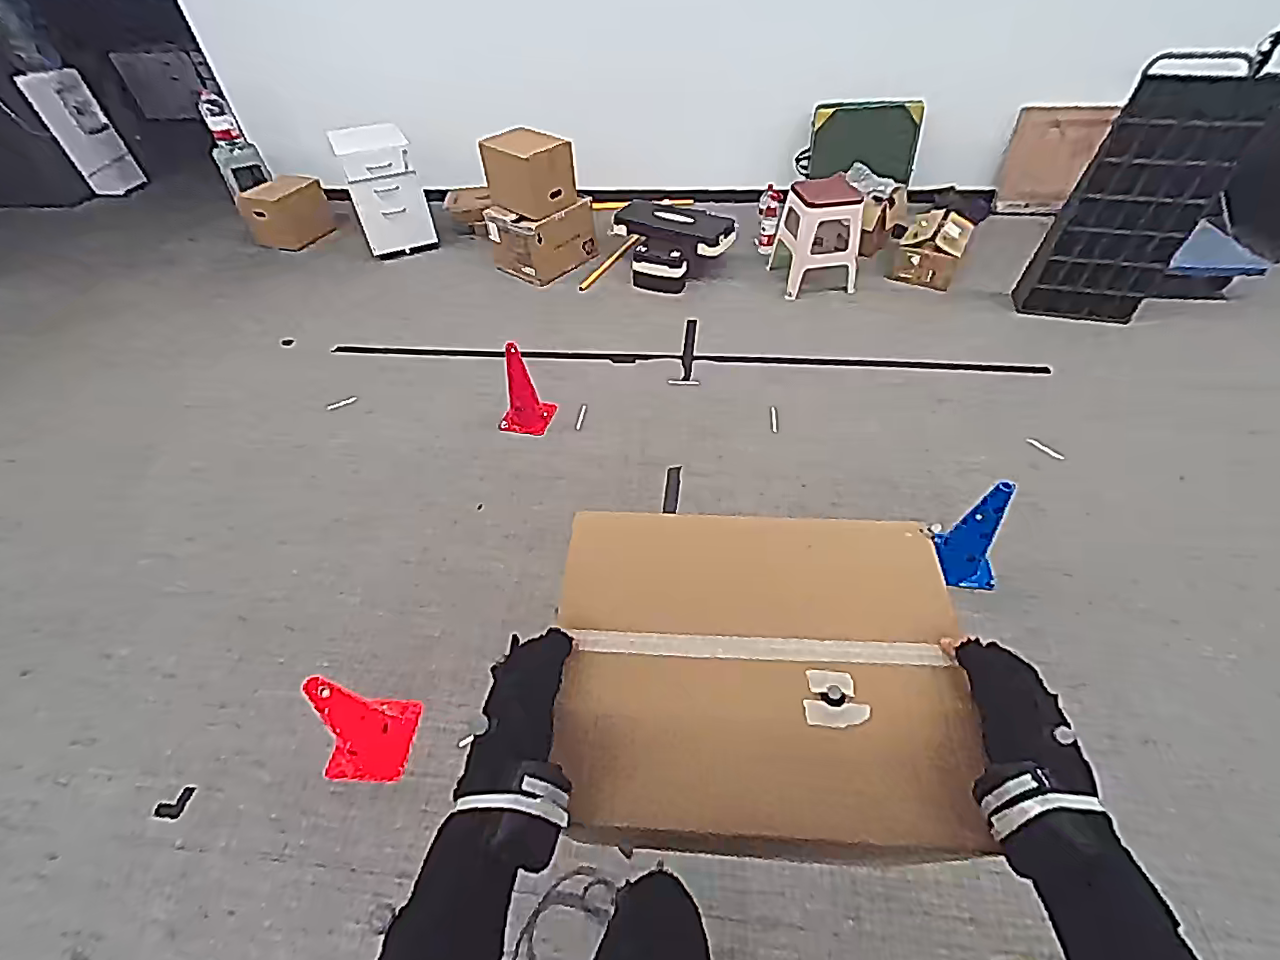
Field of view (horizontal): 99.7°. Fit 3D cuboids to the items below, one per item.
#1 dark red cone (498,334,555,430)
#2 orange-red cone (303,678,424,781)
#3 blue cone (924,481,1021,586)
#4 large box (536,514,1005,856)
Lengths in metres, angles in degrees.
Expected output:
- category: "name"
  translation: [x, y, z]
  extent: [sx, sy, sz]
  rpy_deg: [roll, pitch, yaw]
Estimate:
- category: "dark red cone"
  translation: [-0.476, -0.396, 2.142]
  extent: [0.201, 0.394, 0.202]
  rpy_deg: [8, 48, 9]
- category: "orange-red cone"
  translation: [-0.695, 0.562, 1.290]
  extent: [0.198, 0.360, 0.199]
  rpy_deg: [1, 48, 5]
- category: "blue cone"
  translation: [1.014, 0.141, 1.611]
  extent: [0.192, 0.380, 0.193]
  rpy_deg: [6, 48, 8]
- category: "large box"
  translation: [0.116, 0.256, 0.662]
  extent: [0.408, 0.320, 0.320]
  rpy_deg: [2, 53, 3]
